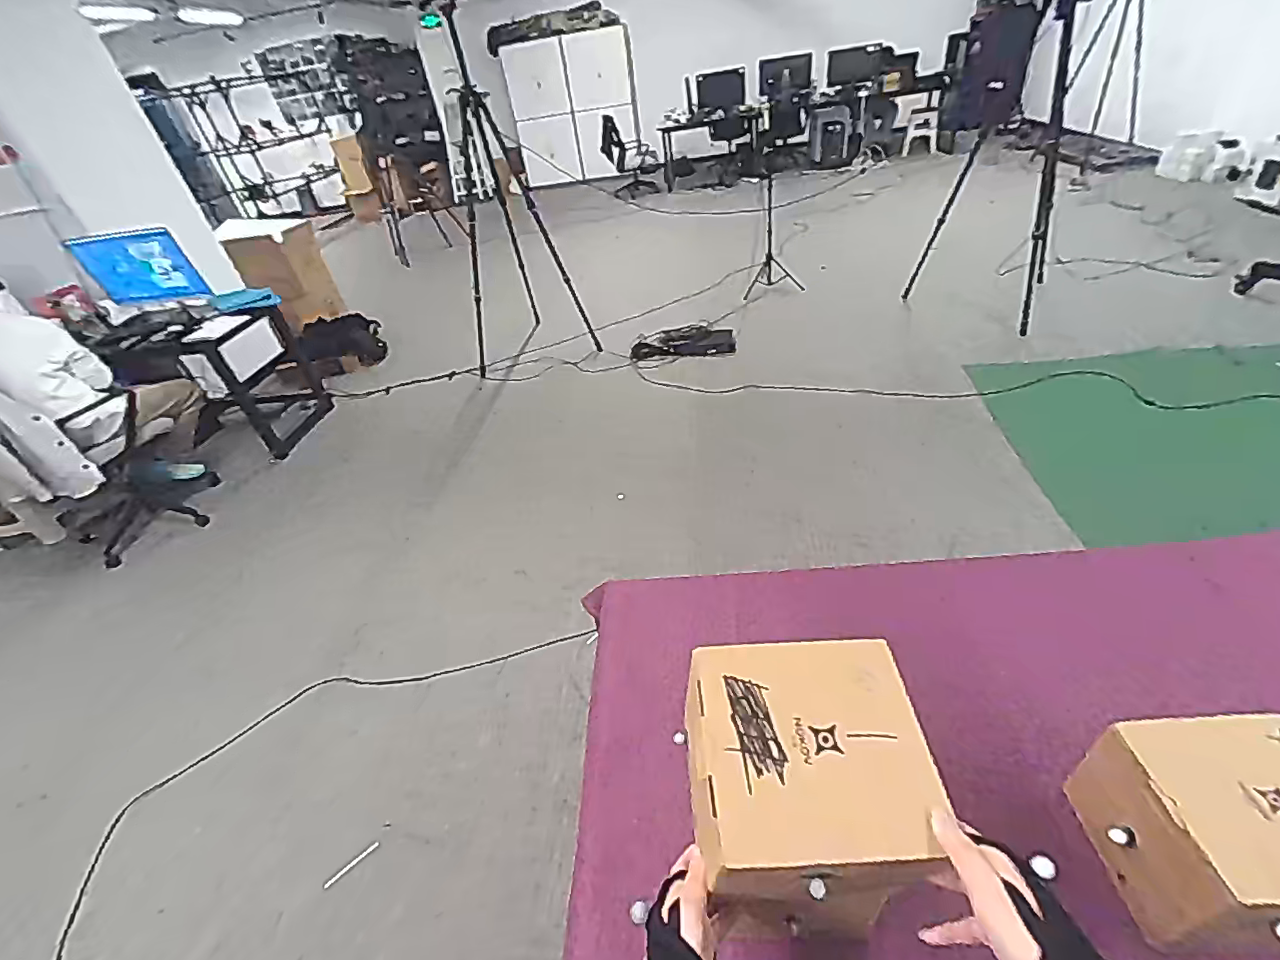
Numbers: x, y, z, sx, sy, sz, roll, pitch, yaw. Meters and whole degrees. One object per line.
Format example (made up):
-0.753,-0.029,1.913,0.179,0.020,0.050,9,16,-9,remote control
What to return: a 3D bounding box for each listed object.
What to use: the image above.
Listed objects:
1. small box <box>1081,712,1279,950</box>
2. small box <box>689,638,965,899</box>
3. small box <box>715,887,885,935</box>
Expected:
0.610,0.367,0.565,0.179,0.176,0.168,-6,38,7,small box
0.137,0.258,0.482,0.179,0.176,0.168,-2,46,-2,small box
0.168,0.401,0.630,0.168,0.176,0.179,-5,38,7,small box
